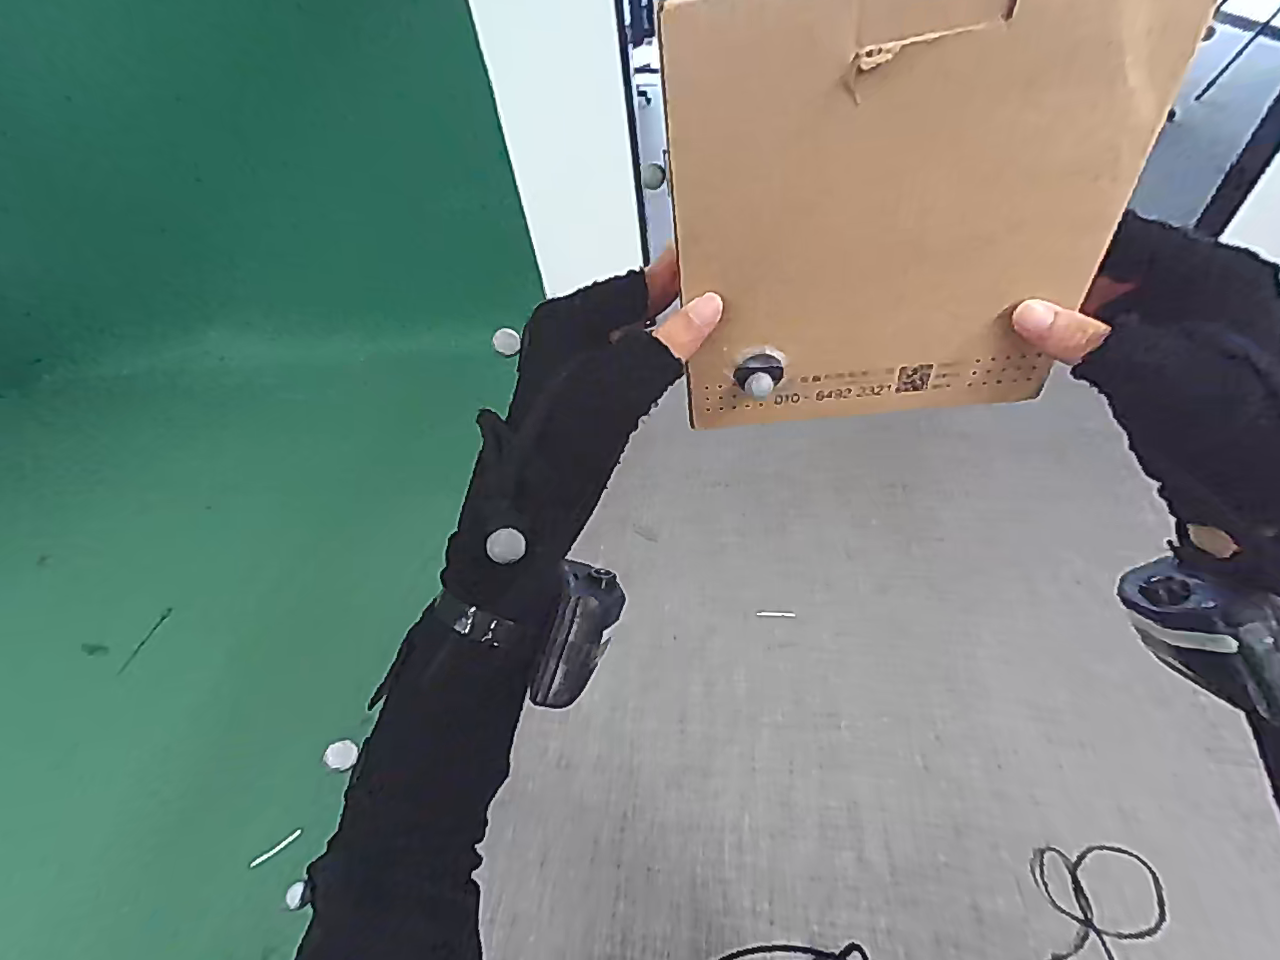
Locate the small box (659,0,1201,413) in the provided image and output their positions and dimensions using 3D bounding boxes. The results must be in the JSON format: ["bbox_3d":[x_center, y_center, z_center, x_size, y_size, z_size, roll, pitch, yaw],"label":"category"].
[{"bbox_3d":[0.100,-0.145,0.266,0.168,0.176,0.179,-5,43,6],"label":"small box"}]
